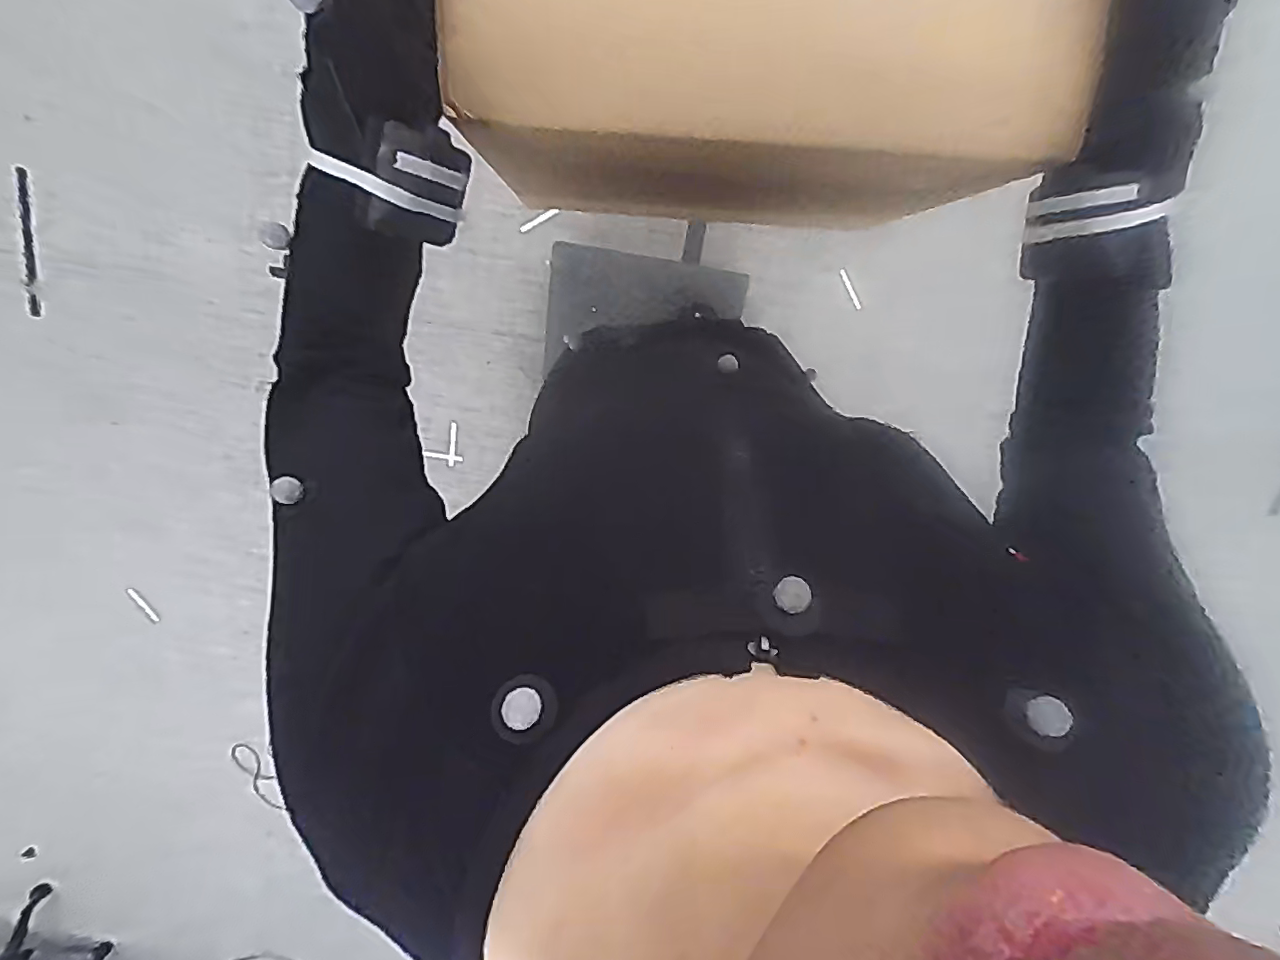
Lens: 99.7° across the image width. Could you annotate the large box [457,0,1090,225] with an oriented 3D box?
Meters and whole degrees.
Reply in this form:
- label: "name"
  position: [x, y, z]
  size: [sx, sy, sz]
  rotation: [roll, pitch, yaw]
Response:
- label: "large box"
  position: [0.080, -0.412, 0.455]
  size: [0.408, 0.320, 0.320]
  rotation: [2, 107, -4]
